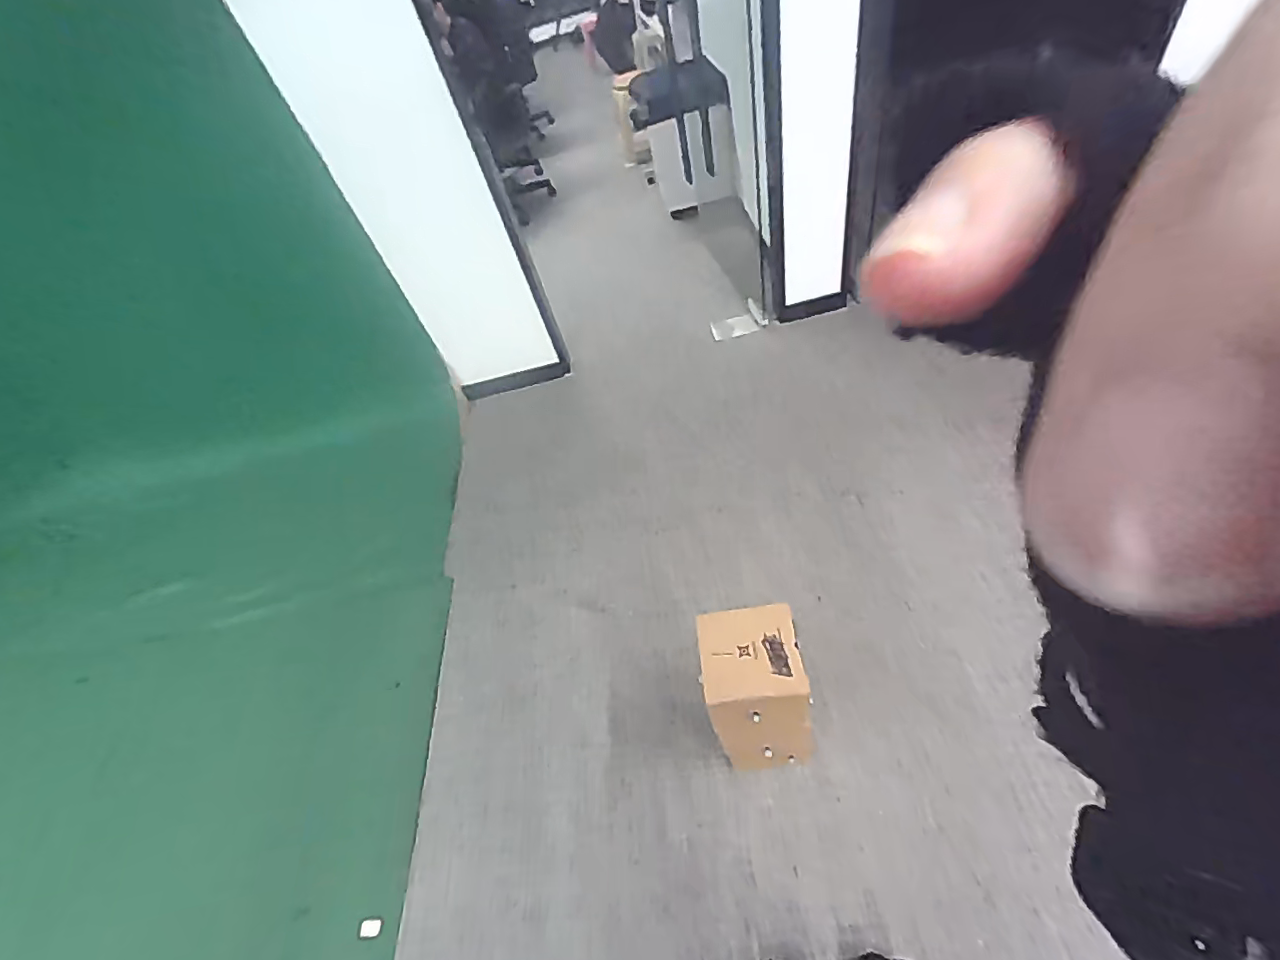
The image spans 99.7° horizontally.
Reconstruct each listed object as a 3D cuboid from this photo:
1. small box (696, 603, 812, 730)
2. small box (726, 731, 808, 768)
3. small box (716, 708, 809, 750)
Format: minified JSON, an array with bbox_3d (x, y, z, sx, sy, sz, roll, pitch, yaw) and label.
[{"bbox_3d":[0.208,0.352,1.011,0.179,0.176,0.168,-11,49,5],"label":"small box"},{"bbox_3d":[0.283,0.555,1.258,0.179,0.176,0.168,-12,48,8],"label":"small box"},{"bbox_3d":[0.247,0.456,1.132,0.179,0.176,0.168,-8,49,9],"label":"small box"}]
